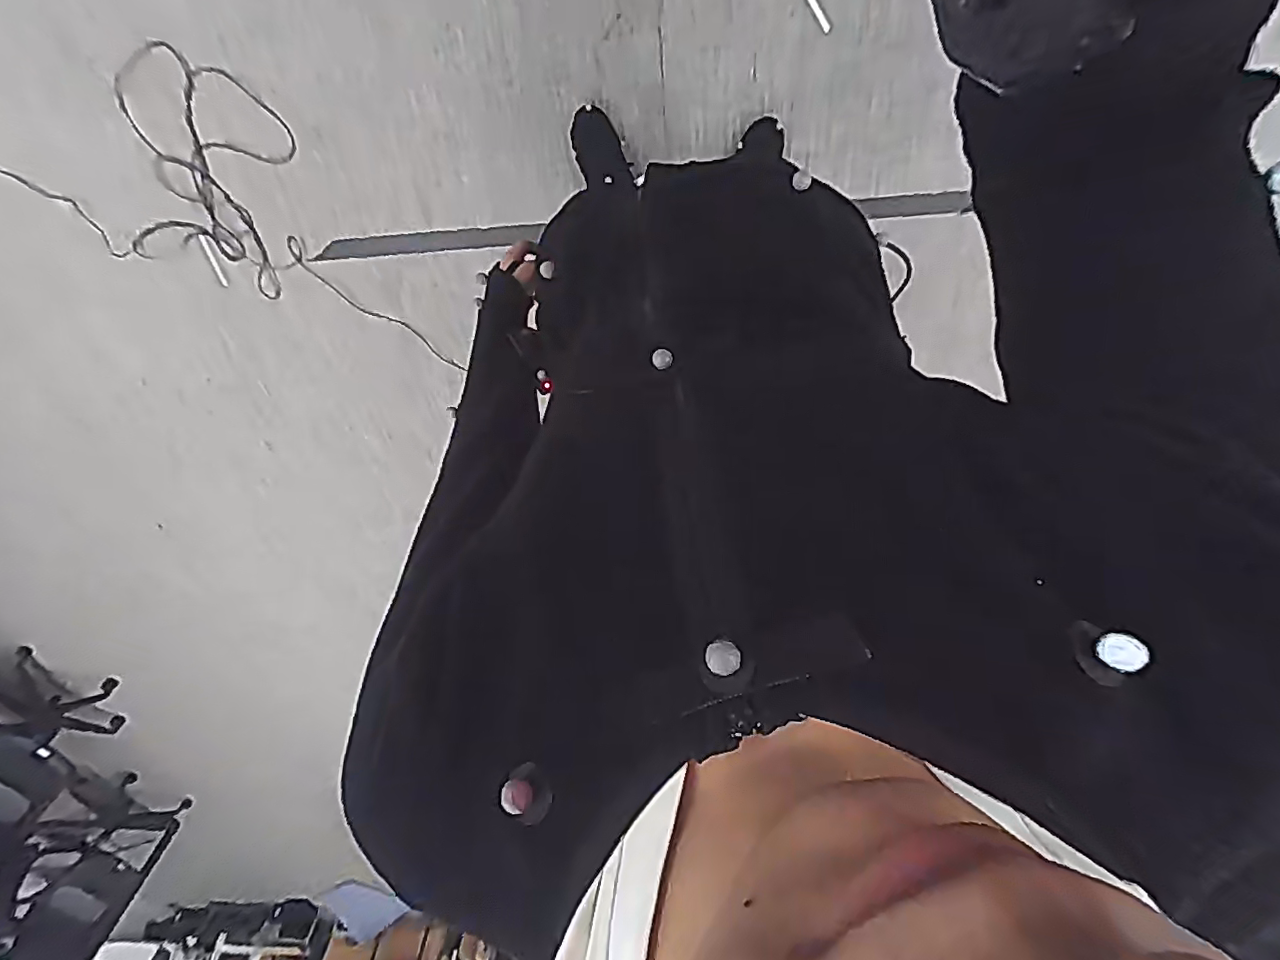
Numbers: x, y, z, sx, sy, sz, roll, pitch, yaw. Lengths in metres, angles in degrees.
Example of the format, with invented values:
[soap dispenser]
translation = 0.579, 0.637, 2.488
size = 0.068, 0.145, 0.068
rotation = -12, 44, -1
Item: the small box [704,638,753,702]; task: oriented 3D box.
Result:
[small box]
translation = 0.335, 0.714, 2.051
size = 0.168, 0.176, 0.179
rotation = -6, 126, 6
